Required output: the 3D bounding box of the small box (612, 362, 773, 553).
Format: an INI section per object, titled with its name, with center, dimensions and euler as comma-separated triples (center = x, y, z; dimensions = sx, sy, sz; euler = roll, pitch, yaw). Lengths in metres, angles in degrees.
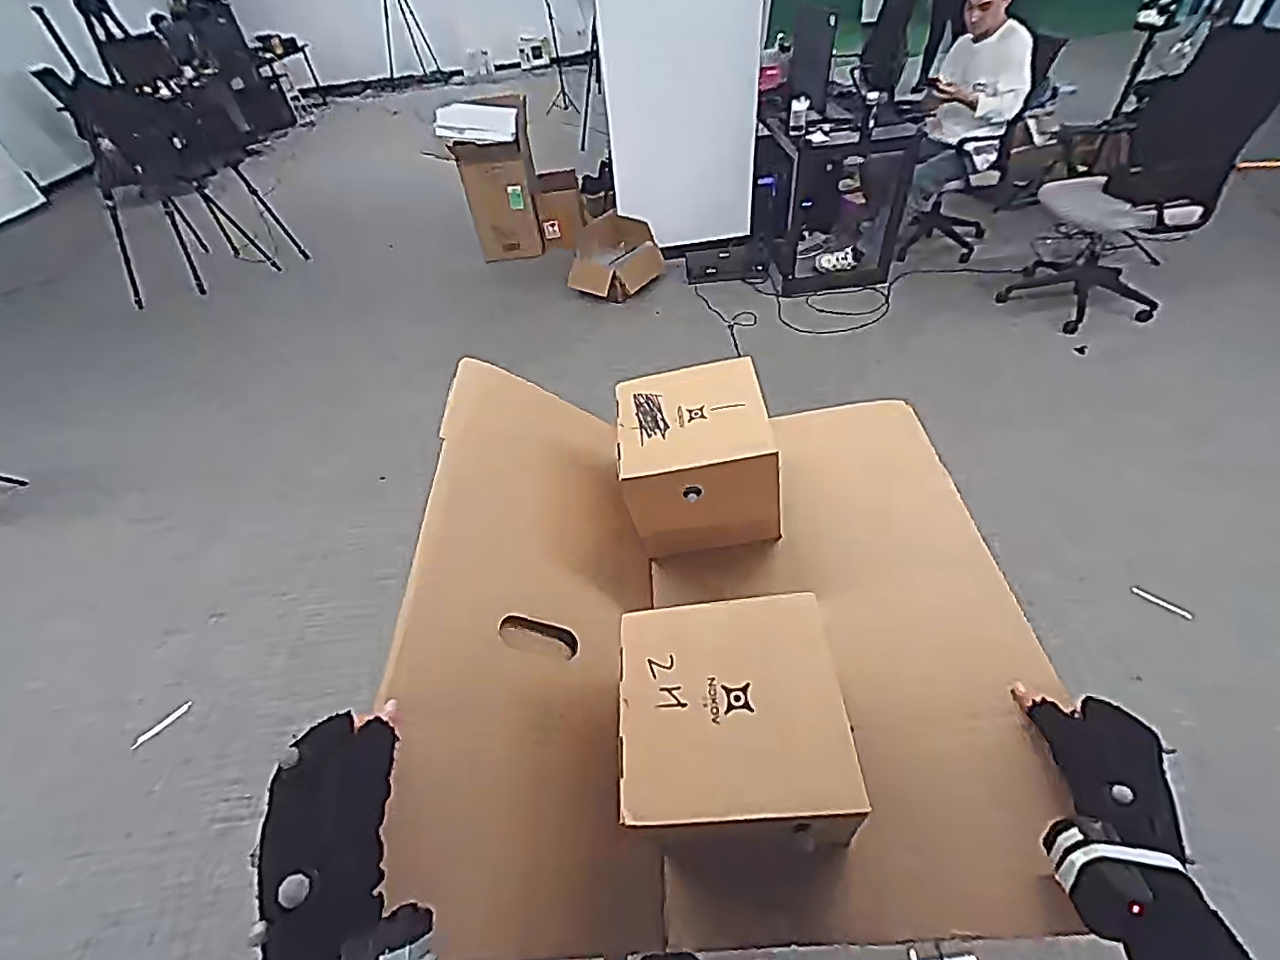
[small box]
center = 0.069, -0.022, 0.704
dimensions = 0.179, 0.176, 0.168
euler = -10, 50, 7
